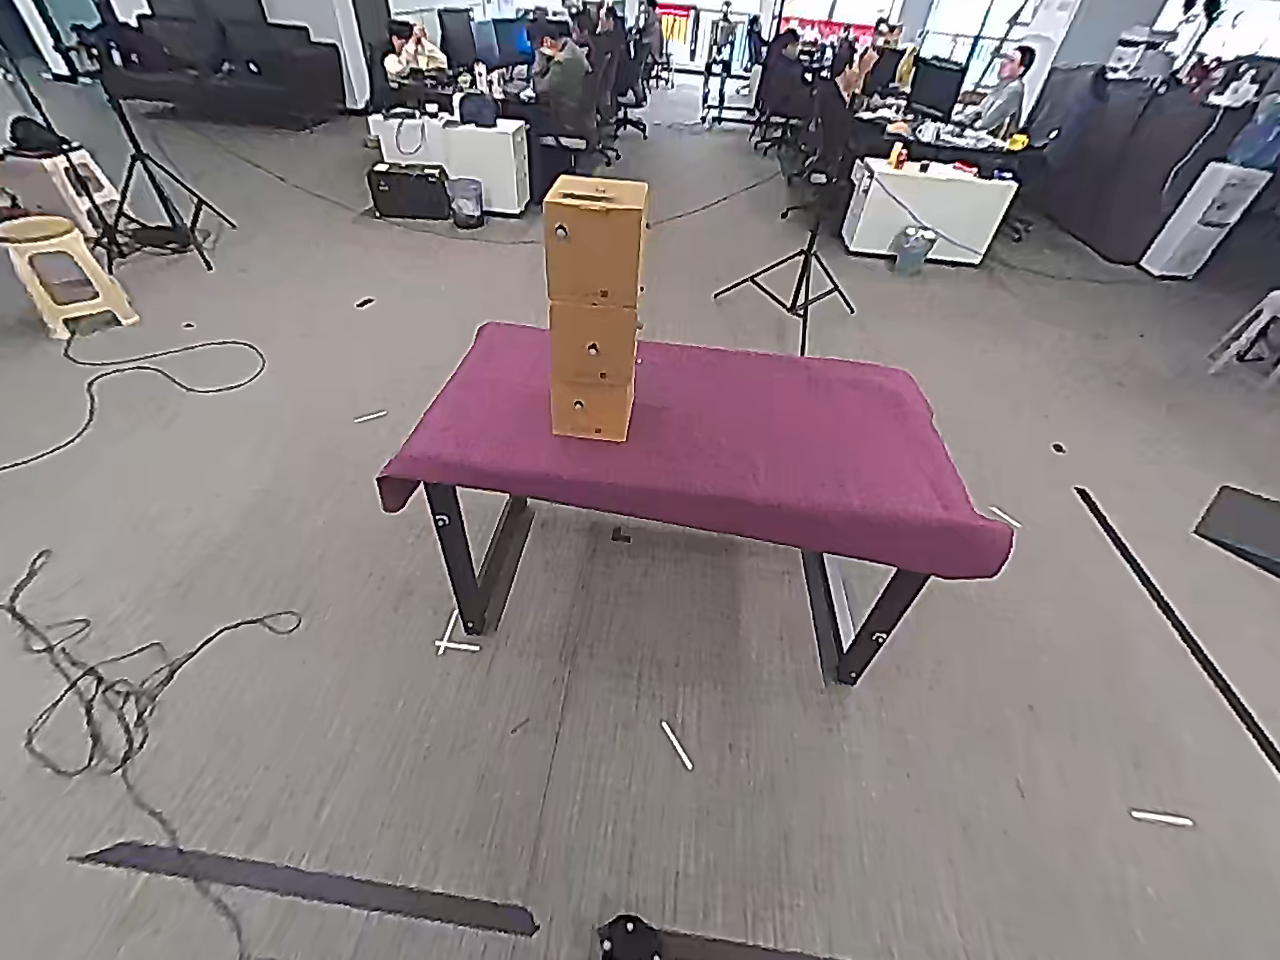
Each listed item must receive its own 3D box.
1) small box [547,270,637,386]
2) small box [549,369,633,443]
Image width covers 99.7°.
[{"bbox_3d":[-0.092,-0.307,1.104,0.168,0.176,0.179,3,43,-2],"label":"small box"},{"bbox_3d":[-0.105,-0.203,1.231,0.168,0.176,0.179,6,43,1],"label":"small box"}]
